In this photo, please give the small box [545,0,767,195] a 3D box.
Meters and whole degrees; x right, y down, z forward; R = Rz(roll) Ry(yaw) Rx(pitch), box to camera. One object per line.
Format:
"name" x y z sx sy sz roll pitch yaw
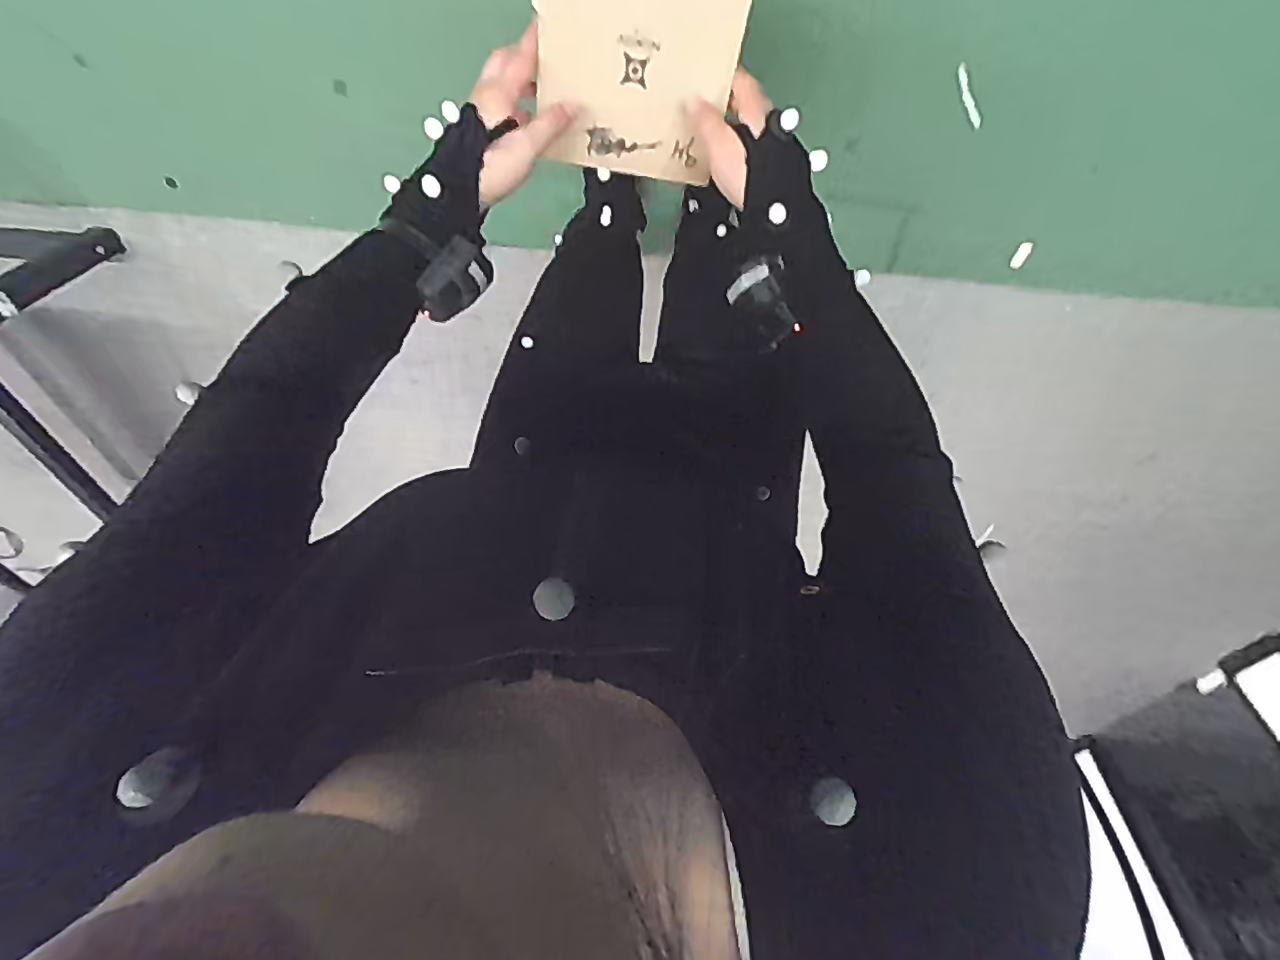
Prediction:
"small box" 0.003 -0.395 0.498 0.168 0.176 0.179 5 135 -10
